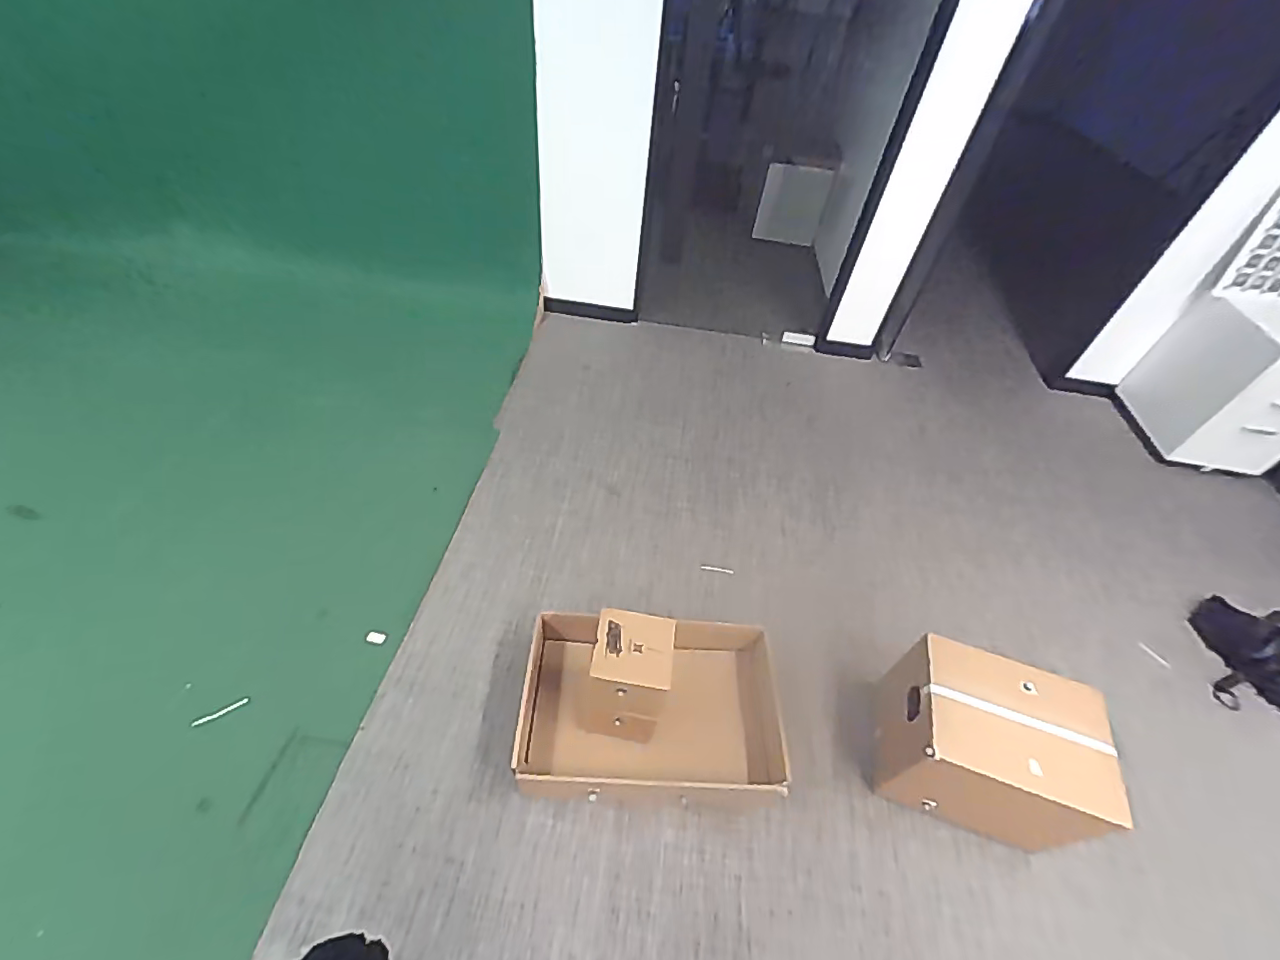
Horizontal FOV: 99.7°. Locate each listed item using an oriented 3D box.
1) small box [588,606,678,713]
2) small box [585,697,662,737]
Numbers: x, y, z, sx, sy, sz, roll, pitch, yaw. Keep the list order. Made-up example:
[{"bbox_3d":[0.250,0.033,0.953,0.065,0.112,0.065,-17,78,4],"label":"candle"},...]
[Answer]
[{"bbox_3d":[-0.019,0.415,1.240,0.179,0.176,0.168,11,47,-1],"label":"small box"},{"bbox_3d":[-0.036,0.527,1.359,0.179,0.176,0.168,11,47,-1],"label":"small box"}]
